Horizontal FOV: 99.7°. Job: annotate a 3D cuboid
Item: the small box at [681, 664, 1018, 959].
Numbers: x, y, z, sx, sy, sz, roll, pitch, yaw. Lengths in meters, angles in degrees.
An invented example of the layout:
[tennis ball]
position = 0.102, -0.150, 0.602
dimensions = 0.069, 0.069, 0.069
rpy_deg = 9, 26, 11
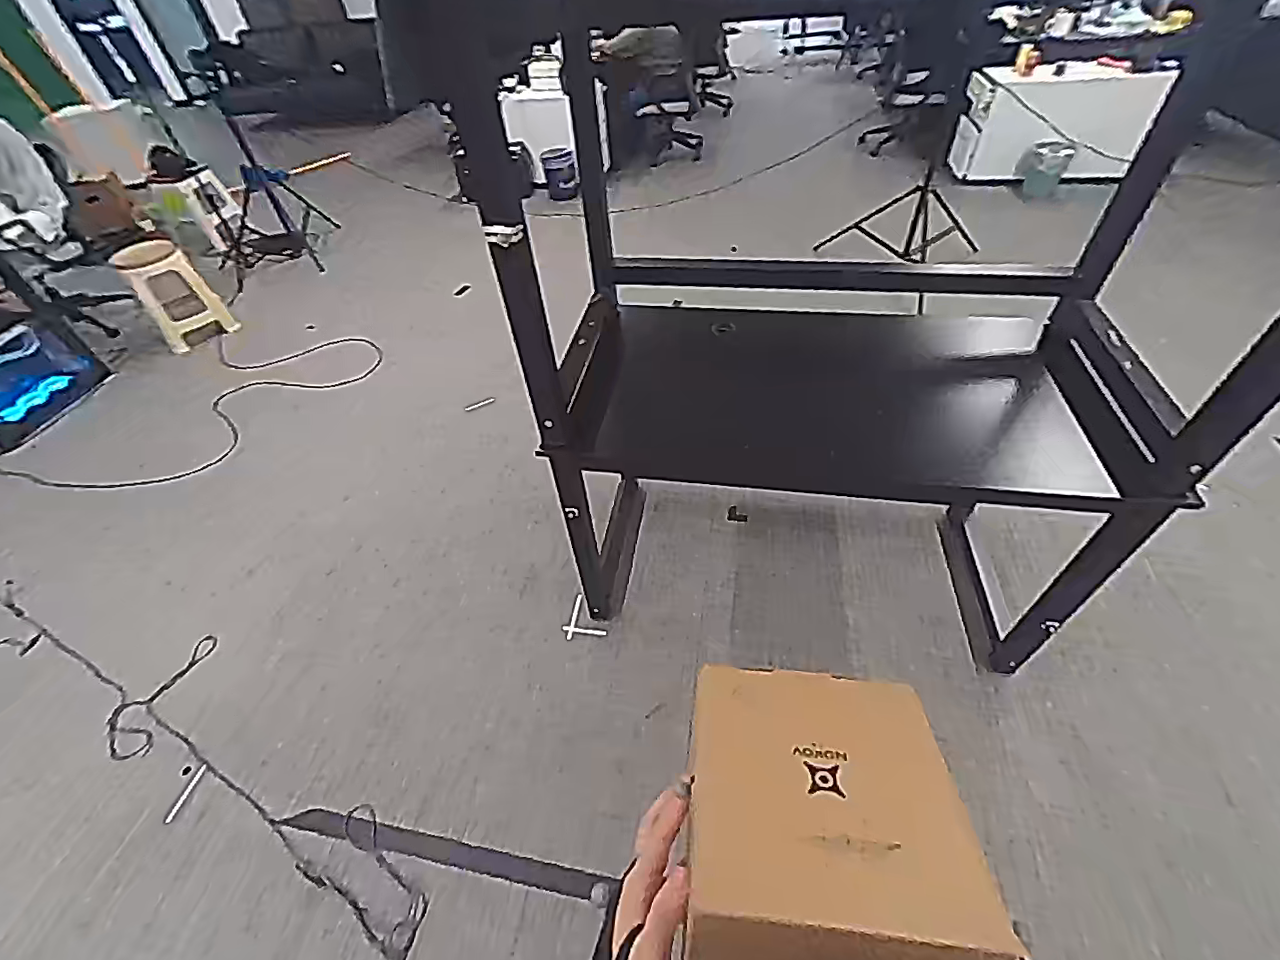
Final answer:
[small box]
position = 0.117, 0.263, 0.387
dimensions = 0.168, 0.176, 0.179
rpy_deg = 3, 28, 6
